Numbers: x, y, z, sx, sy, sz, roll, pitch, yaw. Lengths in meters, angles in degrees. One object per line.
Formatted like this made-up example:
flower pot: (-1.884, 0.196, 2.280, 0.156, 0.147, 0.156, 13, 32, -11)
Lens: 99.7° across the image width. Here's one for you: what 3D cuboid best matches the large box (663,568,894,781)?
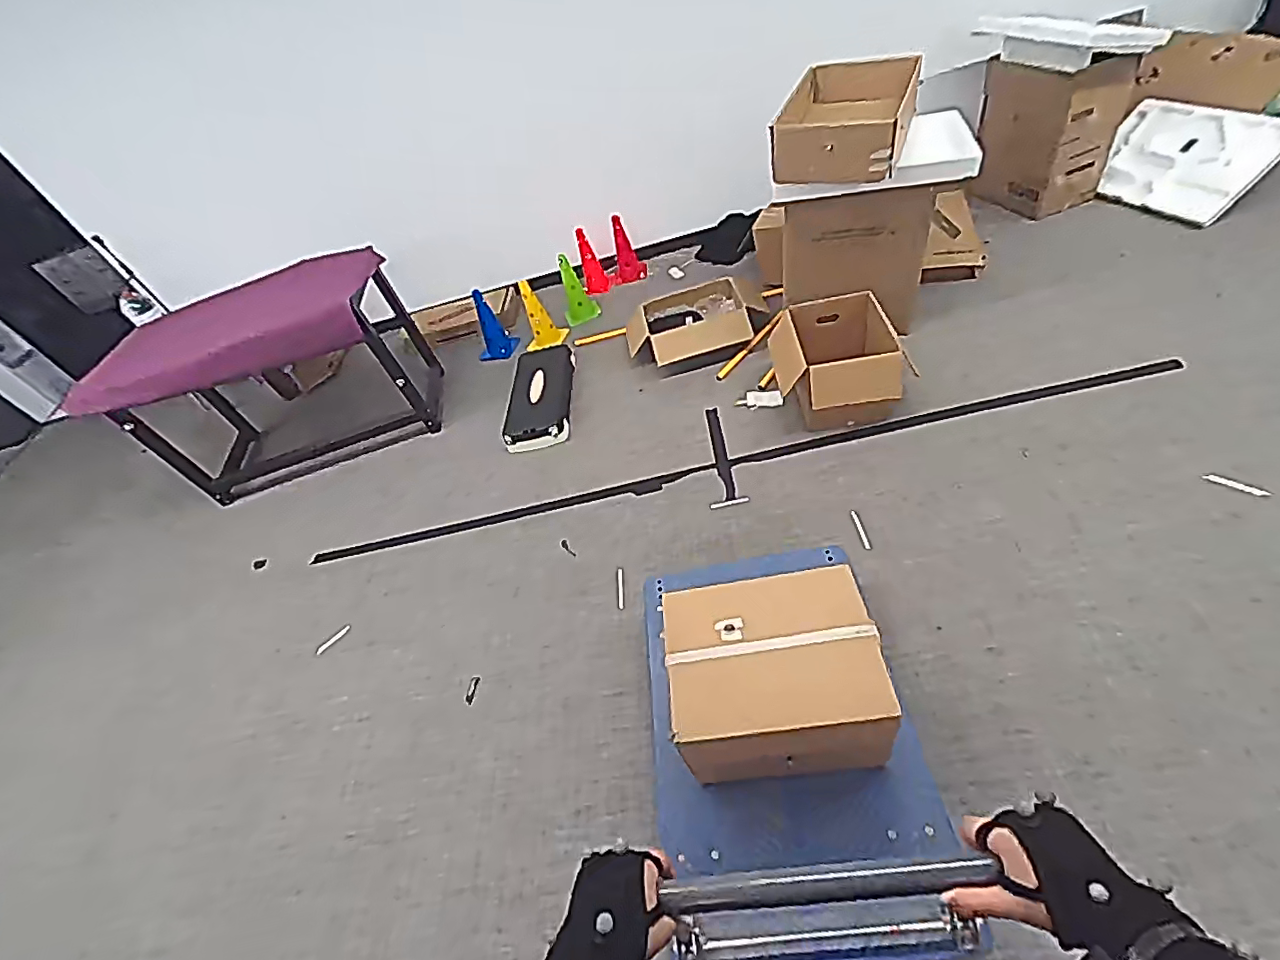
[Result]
large box: (0.288, 0.435, 1.186, 0.408, 0.320, 0.320, -12, 46, 9)
